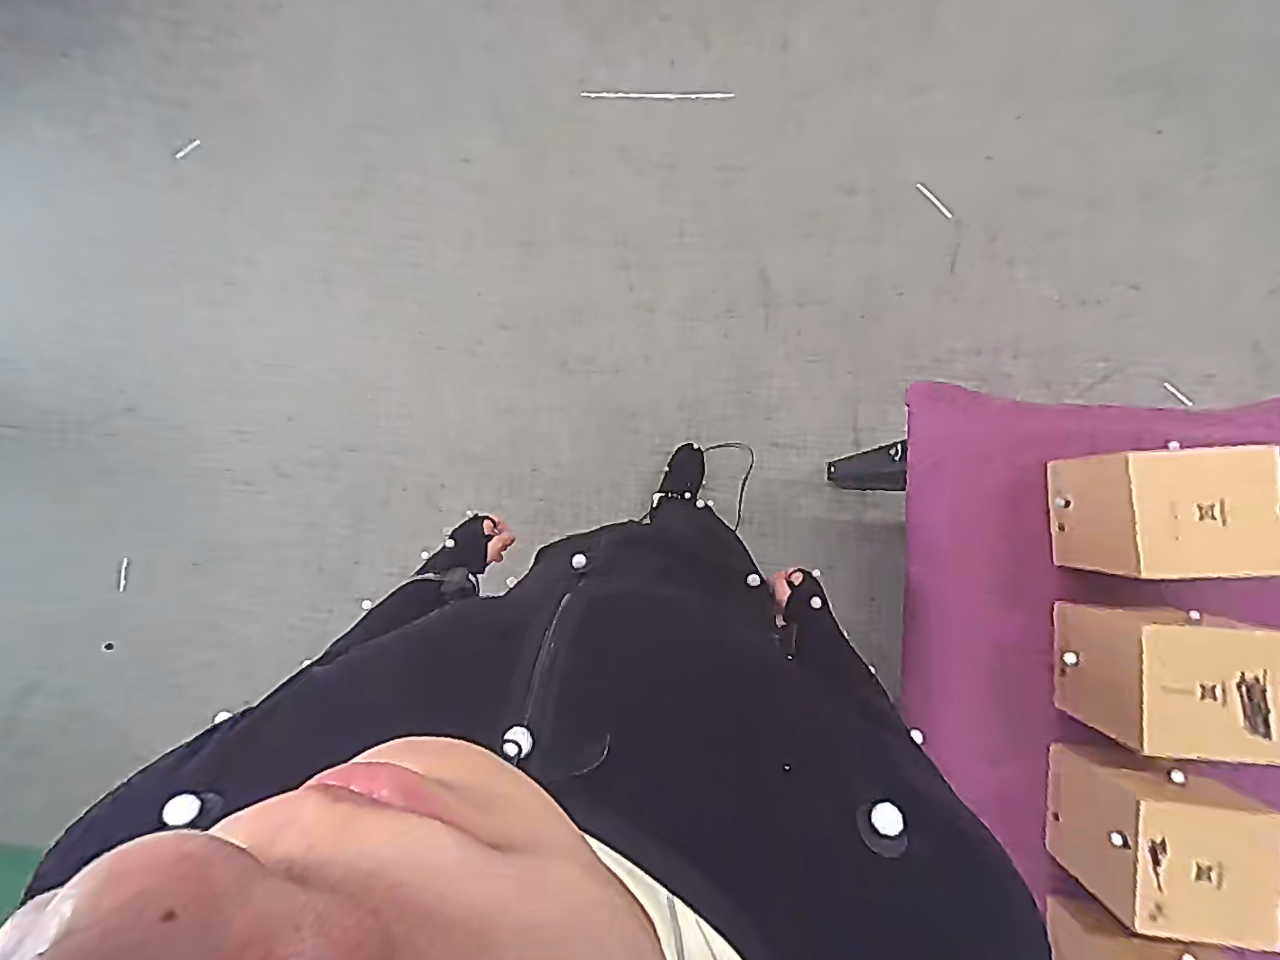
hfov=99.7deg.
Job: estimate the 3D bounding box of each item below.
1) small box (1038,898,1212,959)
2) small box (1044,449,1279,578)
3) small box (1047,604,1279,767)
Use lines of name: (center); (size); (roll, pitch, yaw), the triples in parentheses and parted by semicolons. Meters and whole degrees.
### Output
small box: (0.689, 0.719, 0.740); (0.179, 0.176, 0.168); (4, 87, 5)
small box: (0.722, 0.045, 0.767); (0.179, 0.176, 0.168); (-2, 87, 5)
small box: (0.720, 0.274, 0.757); (0.179, 0.176, 0.168); (2, 88, 6)
